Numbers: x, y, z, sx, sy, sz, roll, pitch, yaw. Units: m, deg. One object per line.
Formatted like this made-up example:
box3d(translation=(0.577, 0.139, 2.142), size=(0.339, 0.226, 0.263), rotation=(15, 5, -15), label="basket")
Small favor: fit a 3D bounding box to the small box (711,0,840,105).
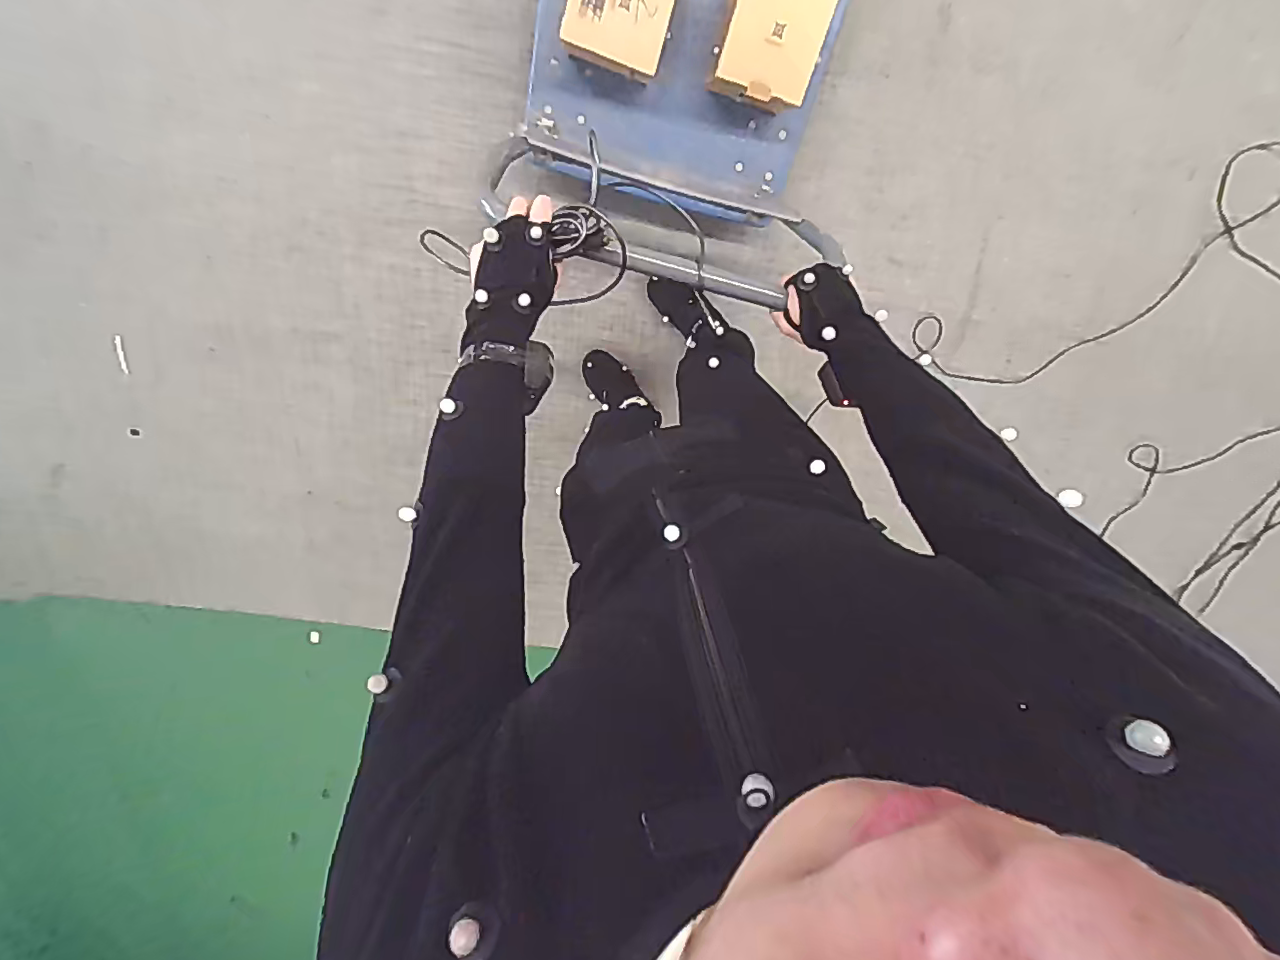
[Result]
box3d(translation=(0.239, -0.816, 0.991), size=(0.168, 0.176, 0.179), rotation=(12, 122, -9), label="small box")
